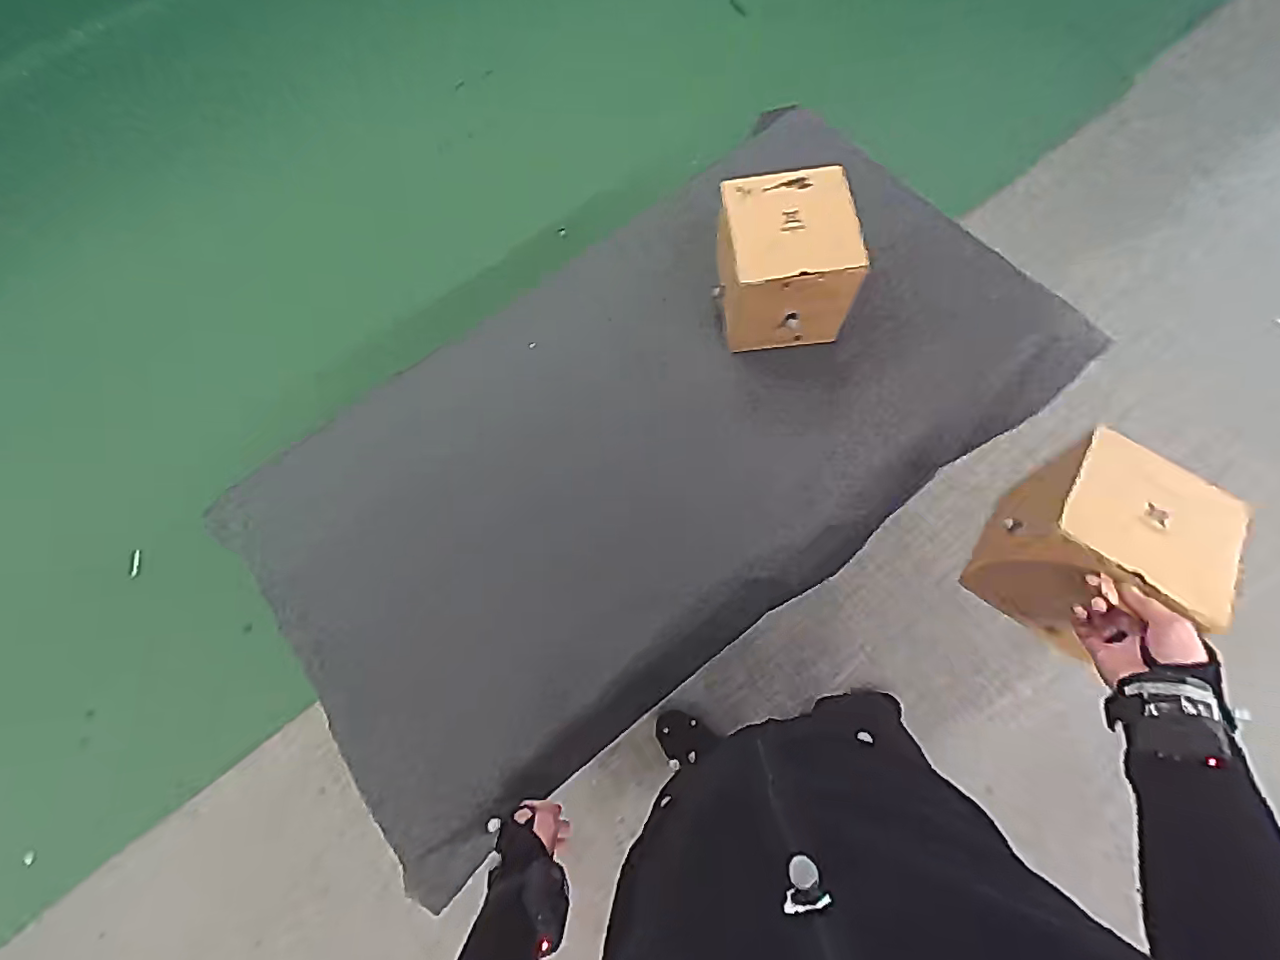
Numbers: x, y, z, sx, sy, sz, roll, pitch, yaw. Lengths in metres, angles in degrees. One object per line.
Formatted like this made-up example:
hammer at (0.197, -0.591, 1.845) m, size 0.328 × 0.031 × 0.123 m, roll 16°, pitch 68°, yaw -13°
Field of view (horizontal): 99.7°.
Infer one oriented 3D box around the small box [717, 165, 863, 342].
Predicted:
small box at (0.208, -0.319, 0.798) m, size 0.168 × 0.176 × 0.179 m, roll -6°, pitch 73°, yaw 2°
